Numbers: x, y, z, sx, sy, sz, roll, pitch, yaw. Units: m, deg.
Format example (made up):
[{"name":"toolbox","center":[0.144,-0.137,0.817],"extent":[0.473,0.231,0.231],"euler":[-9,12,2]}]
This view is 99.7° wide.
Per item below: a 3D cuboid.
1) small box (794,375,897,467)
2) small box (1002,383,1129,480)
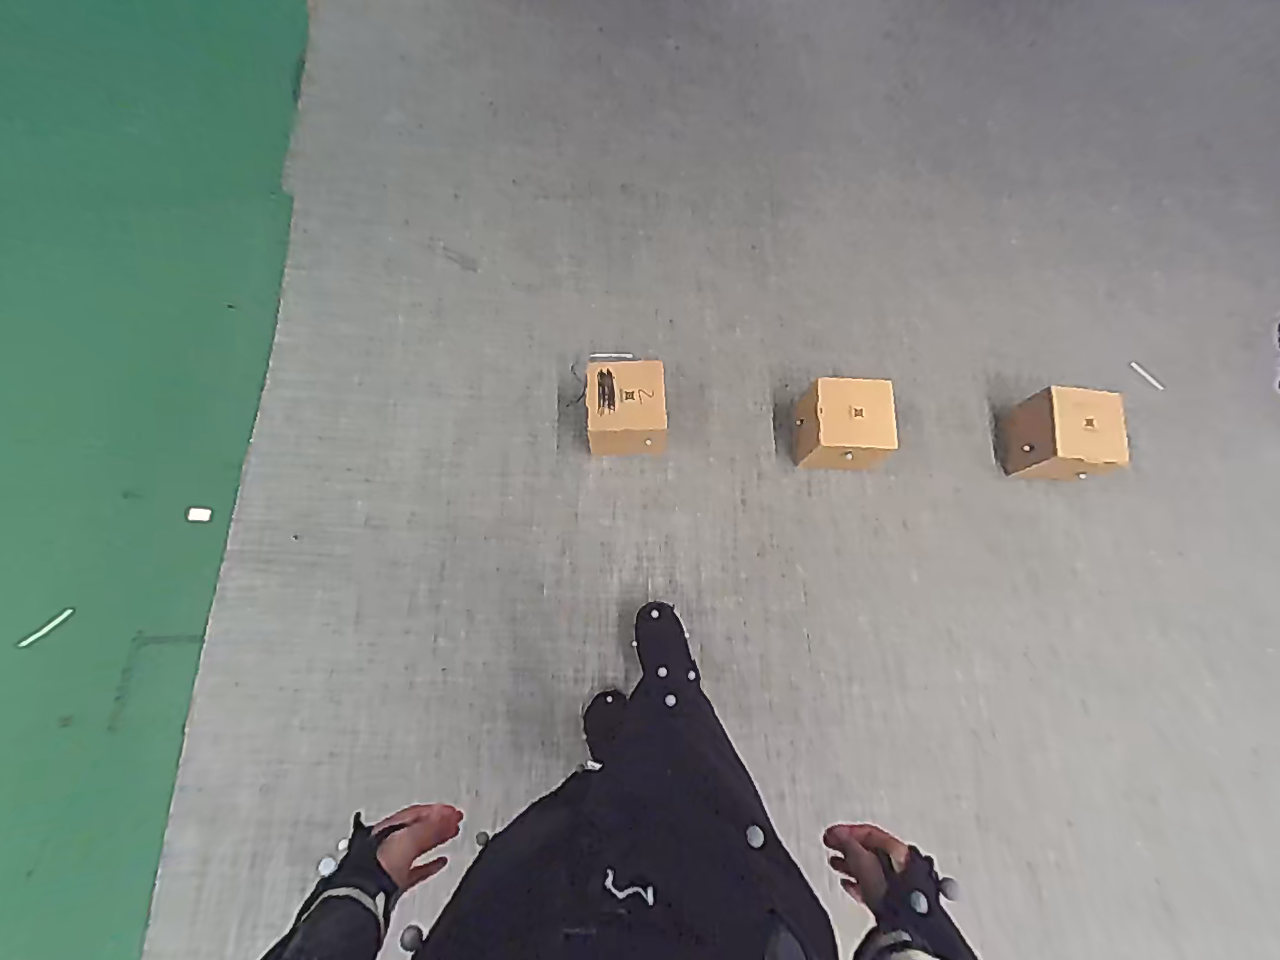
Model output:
[{"name":"small box","center":[0.475,-0.133,1.272],"extent":[0.179,0.176,0.168],"euler":[2,75,-1]},{"name":"small box","center":[0.998,-0.107,1.283],"extent":[0.168,0.176,0.179],"euler":[7,74,-2]}]
